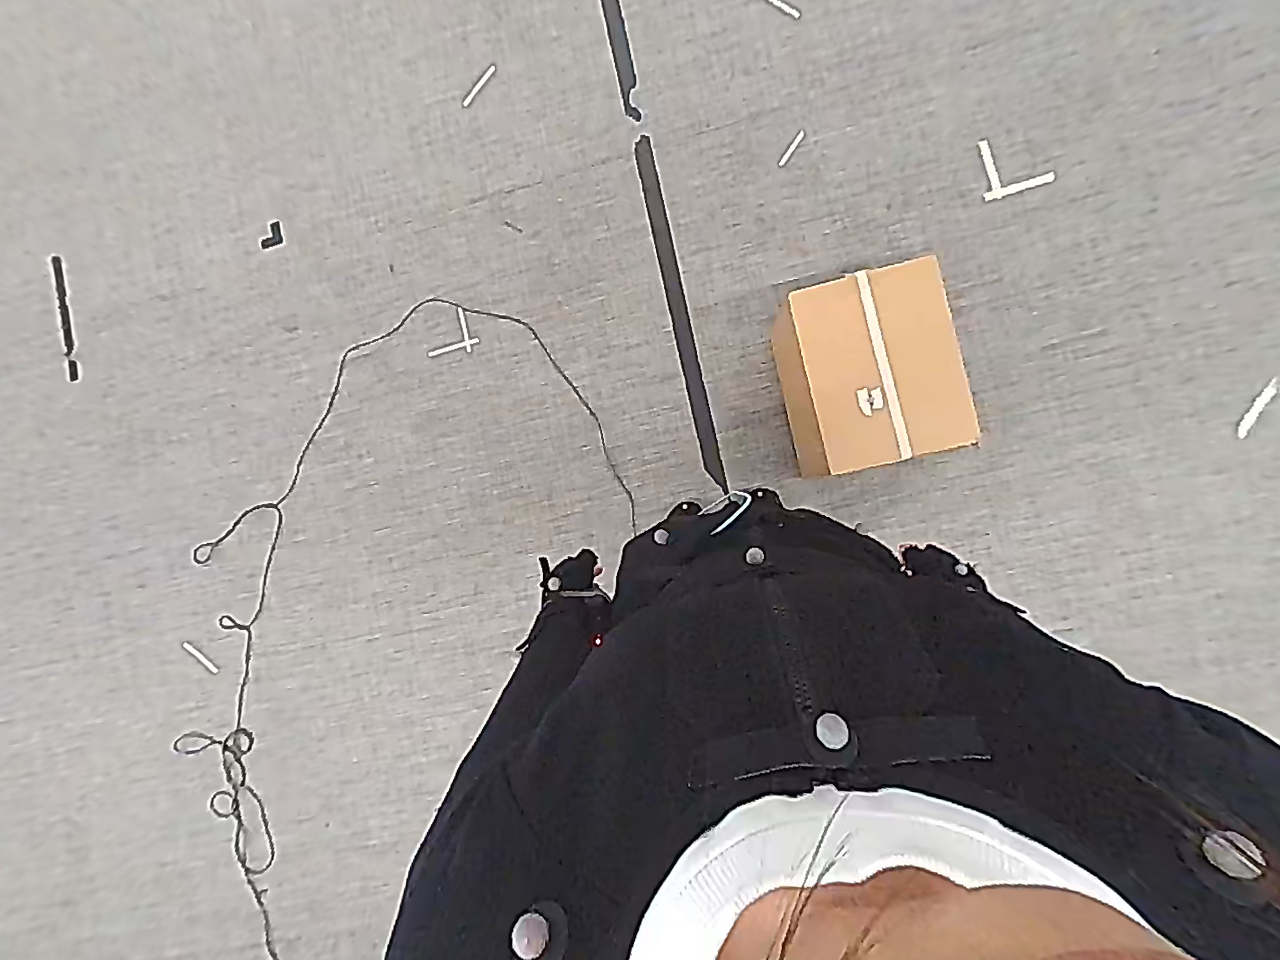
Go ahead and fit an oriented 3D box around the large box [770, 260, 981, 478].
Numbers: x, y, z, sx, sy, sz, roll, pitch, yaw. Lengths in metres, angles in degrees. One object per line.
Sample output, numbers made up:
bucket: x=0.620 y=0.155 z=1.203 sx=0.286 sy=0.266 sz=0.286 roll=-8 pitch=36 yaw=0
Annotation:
large box: x=0.525 y=-0.234 z=1.284 sx=0.320 sy=0.320 sz=0.408 roll=-14 pitch=88 yaw=6
